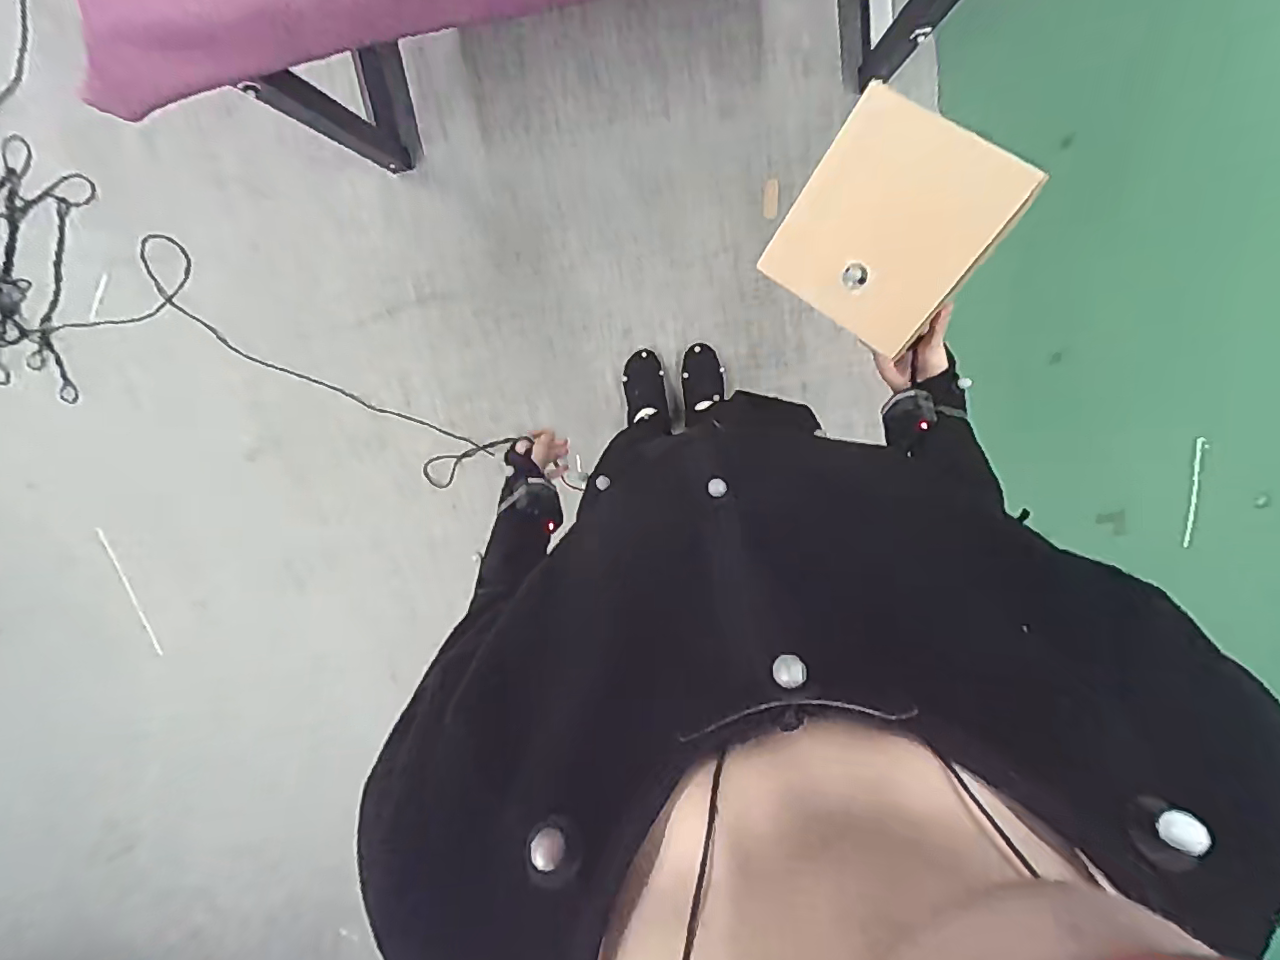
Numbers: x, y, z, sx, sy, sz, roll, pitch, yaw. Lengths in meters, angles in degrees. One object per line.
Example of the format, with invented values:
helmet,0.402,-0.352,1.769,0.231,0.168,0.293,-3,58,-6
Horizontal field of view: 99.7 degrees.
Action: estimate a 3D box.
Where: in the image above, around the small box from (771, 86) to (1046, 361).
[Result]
small box,0.252,-0.243,0.547,0.176,0.168,0.179,41,119,13
